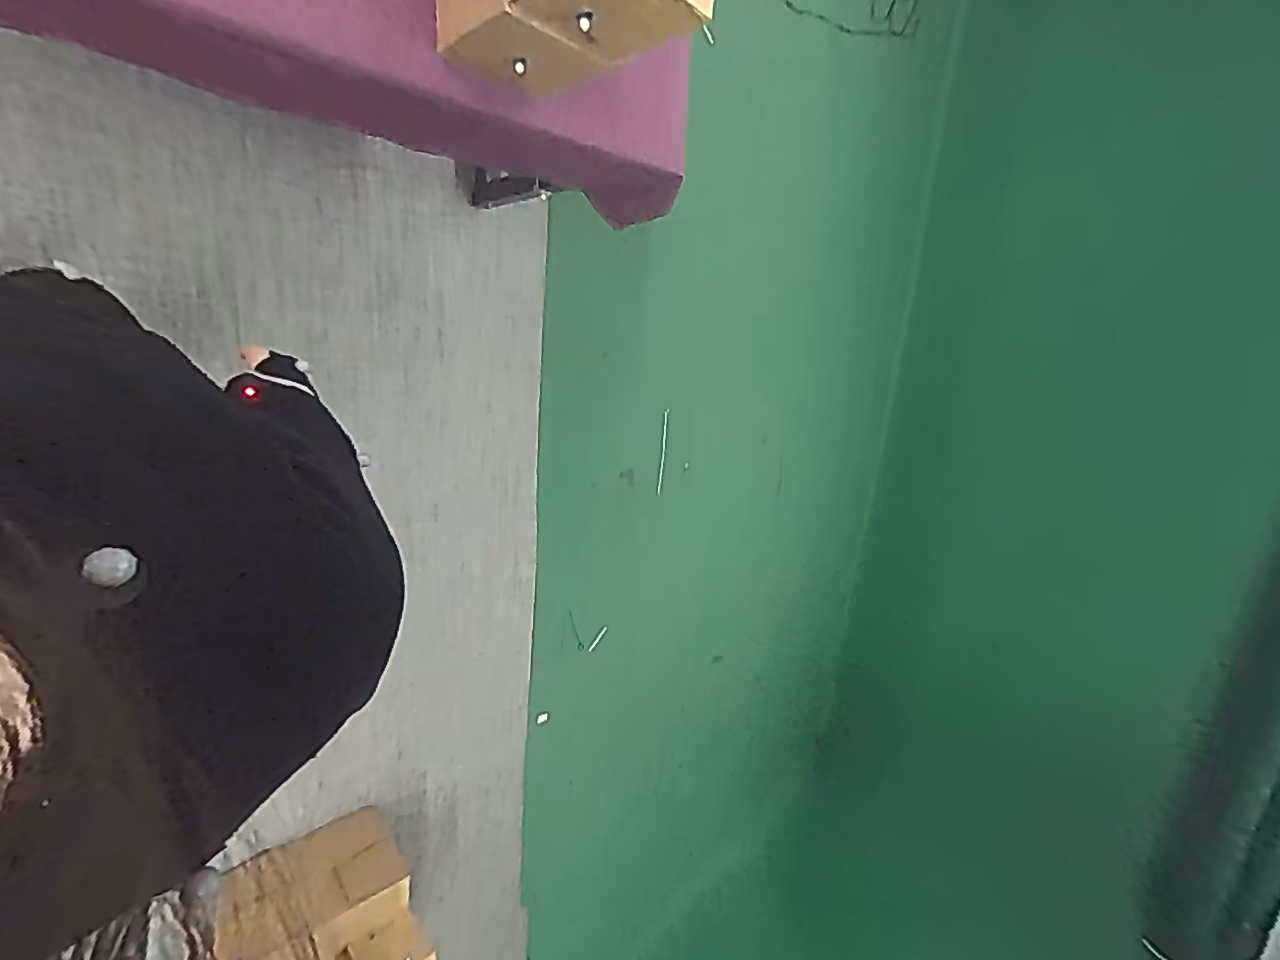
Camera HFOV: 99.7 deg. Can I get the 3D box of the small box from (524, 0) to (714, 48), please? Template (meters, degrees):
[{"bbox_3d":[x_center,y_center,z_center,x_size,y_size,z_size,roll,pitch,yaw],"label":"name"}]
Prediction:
[{"bbox_3d":[-0.026,-0.621,0.586,0.168,0.176,0.179,-12,113,-44],"label":"small box"}]

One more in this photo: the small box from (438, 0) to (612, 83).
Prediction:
[{"bbox_3d":[-0.146,-0.650,0.693,0.168,0.176,0.179,-12,112,-45],"label":"small box"}]

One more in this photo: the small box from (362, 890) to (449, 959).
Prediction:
[{"bbox_3d":[-0.636,1.277,1.460,0.168,0.176,0.179,-8,111,-46],"label":"small box"}]

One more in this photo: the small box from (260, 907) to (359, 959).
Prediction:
[{"bbox_3d":[-0.778,1.177,1.269,0.179,0.176,0.168,-9,111,-45],"label":"small box"}]
